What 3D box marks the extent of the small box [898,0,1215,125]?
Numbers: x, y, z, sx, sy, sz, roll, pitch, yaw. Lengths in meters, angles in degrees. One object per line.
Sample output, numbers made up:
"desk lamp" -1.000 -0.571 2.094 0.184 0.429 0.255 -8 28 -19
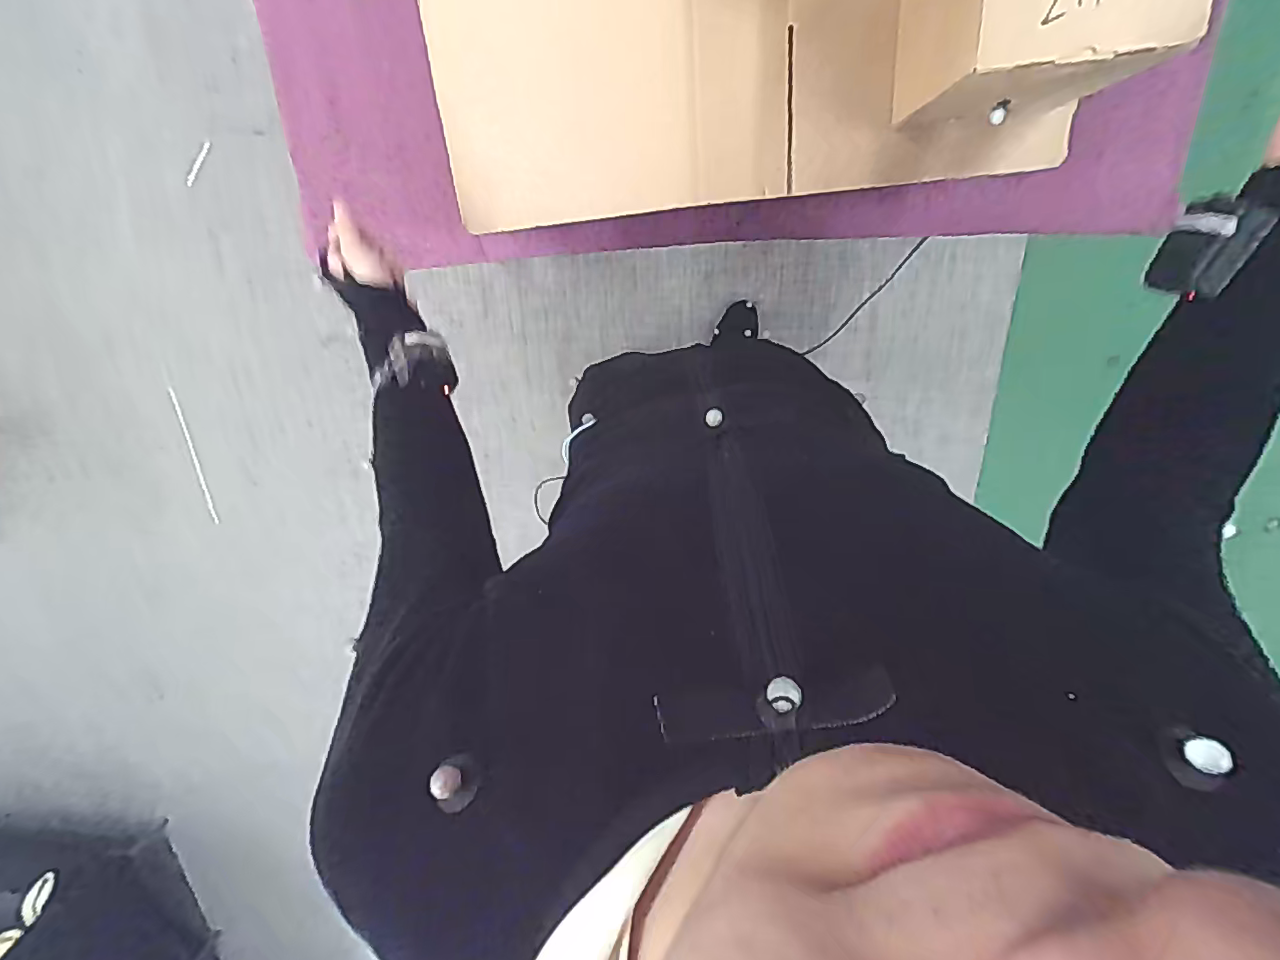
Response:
"small box" 0.335 -0.428 0.453 0.168 0.176 0.179 -3 110 5
